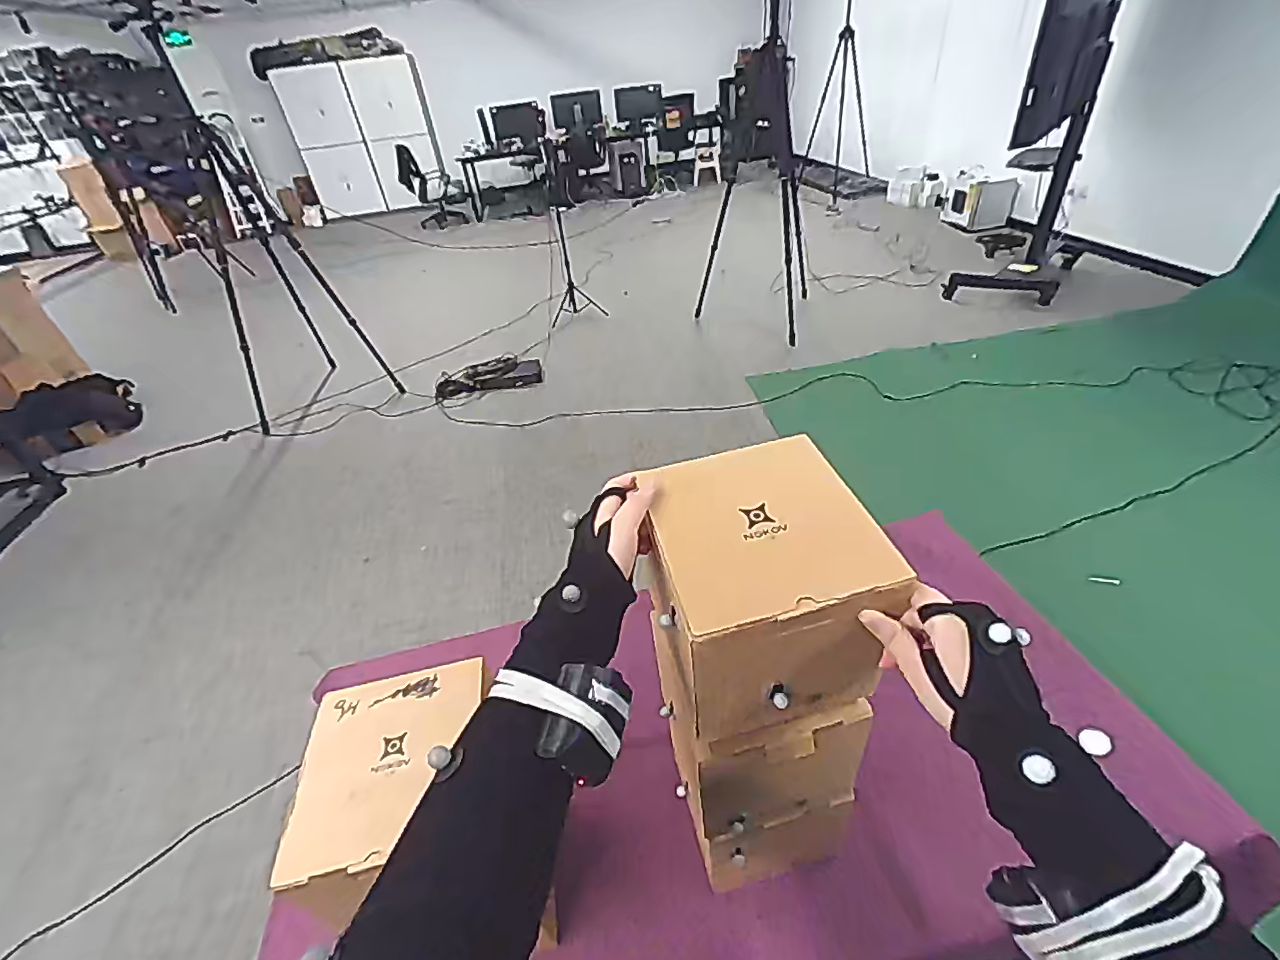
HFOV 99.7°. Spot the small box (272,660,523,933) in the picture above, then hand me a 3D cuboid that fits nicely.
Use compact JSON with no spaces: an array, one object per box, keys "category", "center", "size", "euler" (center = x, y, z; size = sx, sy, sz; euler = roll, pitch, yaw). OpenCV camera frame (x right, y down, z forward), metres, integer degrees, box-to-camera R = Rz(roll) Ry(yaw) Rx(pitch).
[{"category":"small box","center":[-0.217,0.318,0.542],"size":[0.168,0.176,0.179],"euler":[-12,38,-6]}]

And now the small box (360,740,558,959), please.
[{"category":"small box","center":[-0.198,0.449,0.640],"size":[0.168,0.176,0.179],"euler":[-13,38,-6]}]

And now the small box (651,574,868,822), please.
[{"category":"small box","center":[0.118,0.237,0.585],"size":[0.168,0.176,0.179],"euler":[-13,37,-7]}]
